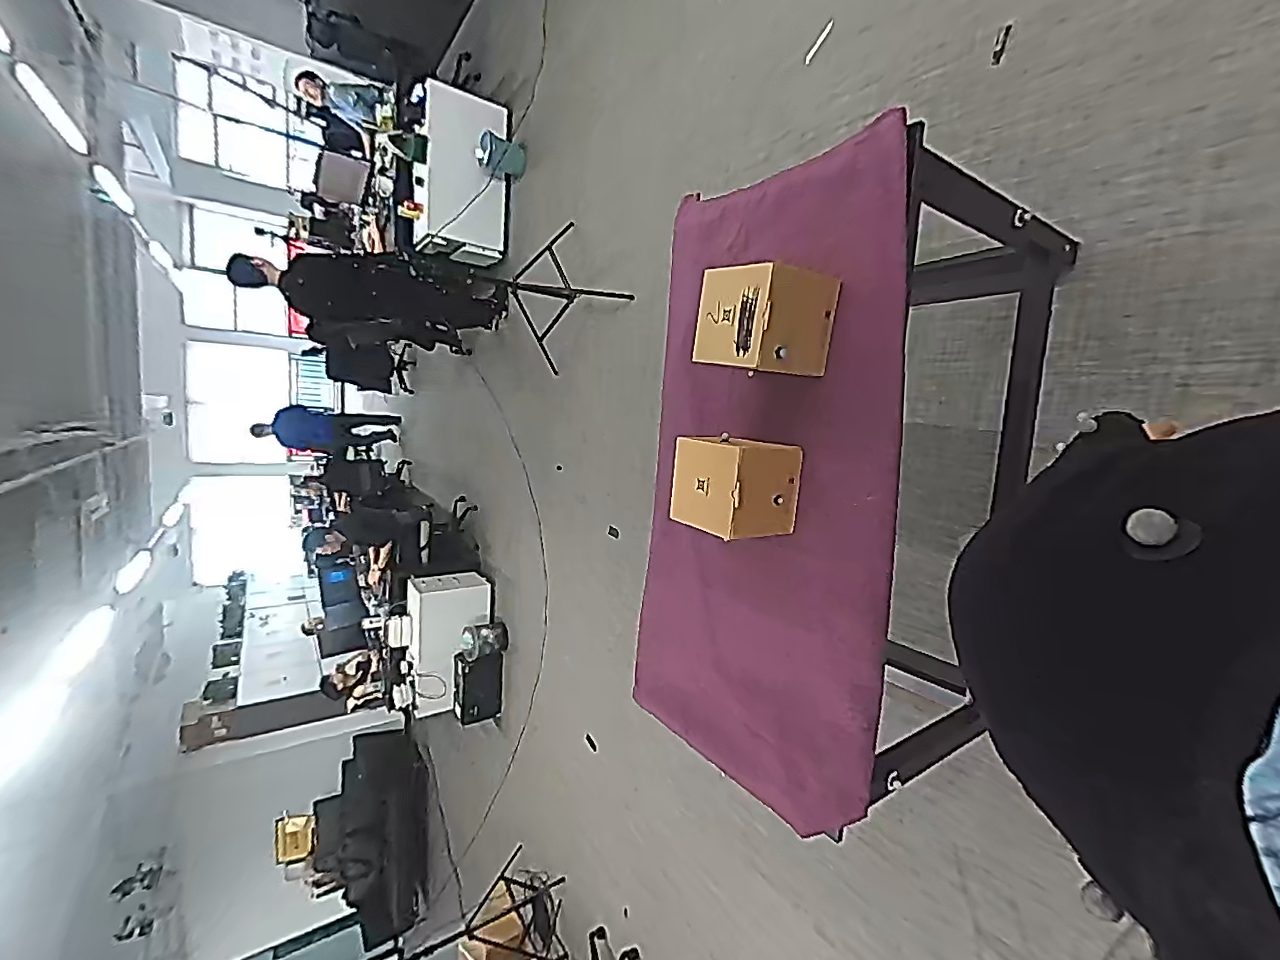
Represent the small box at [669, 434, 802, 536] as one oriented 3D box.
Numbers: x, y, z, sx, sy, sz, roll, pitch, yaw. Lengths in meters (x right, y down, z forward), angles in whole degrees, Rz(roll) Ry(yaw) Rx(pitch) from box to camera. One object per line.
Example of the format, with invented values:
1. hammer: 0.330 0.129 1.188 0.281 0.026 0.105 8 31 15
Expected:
1. small box: 0.180 0.005 1.040 0.179 0.176 0.168 17 105 54
